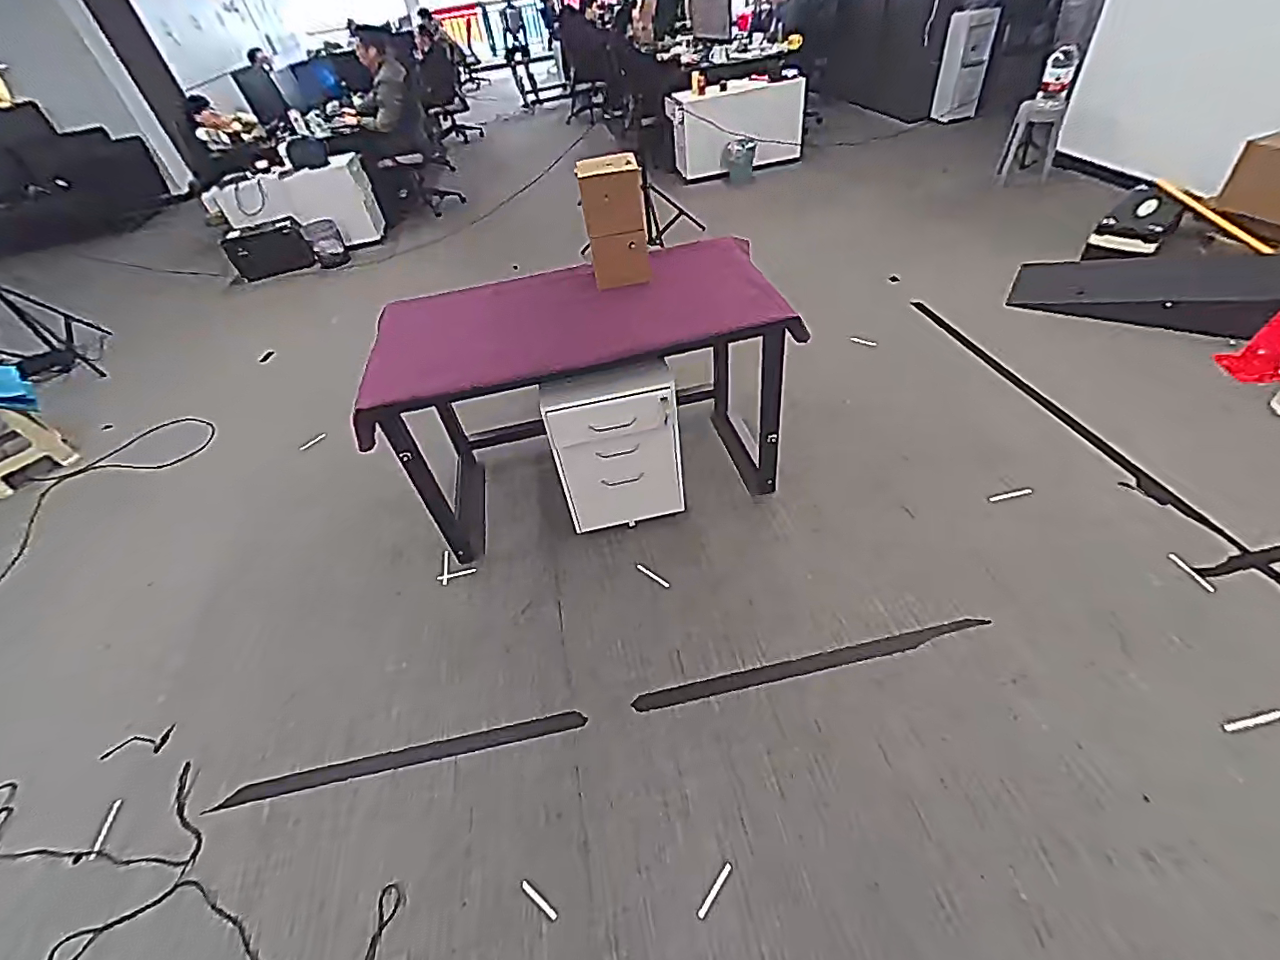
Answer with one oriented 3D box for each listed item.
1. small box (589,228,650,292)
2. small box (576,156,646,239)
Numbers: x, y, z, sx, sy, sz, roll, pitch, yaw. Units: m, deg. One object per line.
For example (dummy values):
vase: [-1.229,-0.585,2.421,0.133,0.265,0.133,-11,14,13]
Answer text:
small box: [-0.065,-0.729,1.738,0.179,0.176,0.168,-10,44,0]
small box: [-0.087,-0.845,1.624,0.179,0.176,0.168,-10,45,1]
